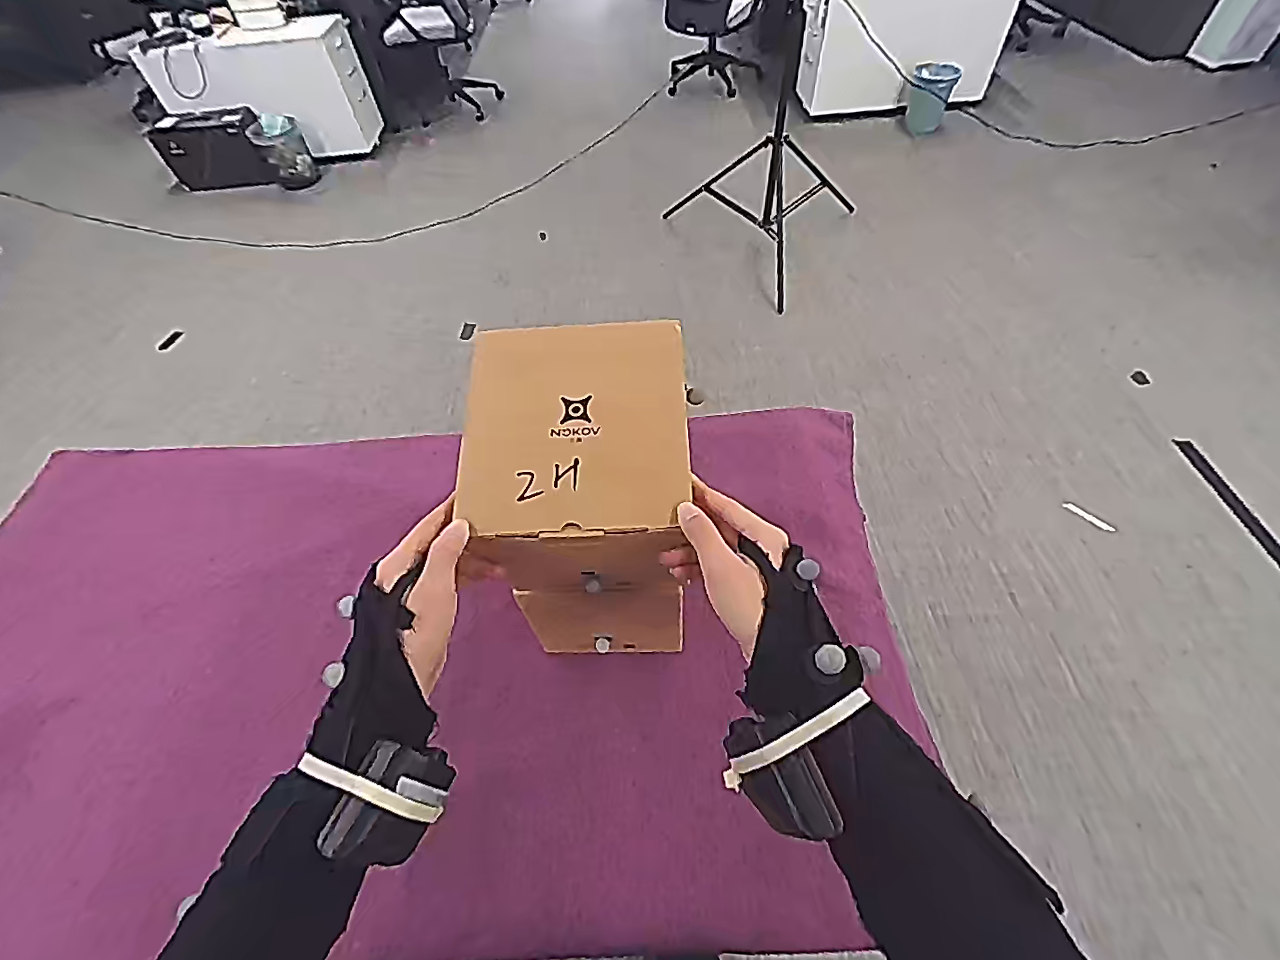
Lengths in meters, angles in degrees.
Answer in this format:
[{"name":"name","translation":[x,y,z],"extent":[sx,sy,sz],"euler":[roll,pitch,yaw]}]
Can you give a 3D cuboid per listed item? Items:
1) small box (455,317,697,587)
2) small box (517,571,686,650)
[{"name":"small box","translation":[-0.040,-0.015,0.467],"extent":[0.168,0.176,0.179],"euler":[-2,65,3]},{"name":"small box","translation":[-0.032,0.083,0.630],"extent":[0.168,0.176,0.179],"euler":[-1,54,3]}]
